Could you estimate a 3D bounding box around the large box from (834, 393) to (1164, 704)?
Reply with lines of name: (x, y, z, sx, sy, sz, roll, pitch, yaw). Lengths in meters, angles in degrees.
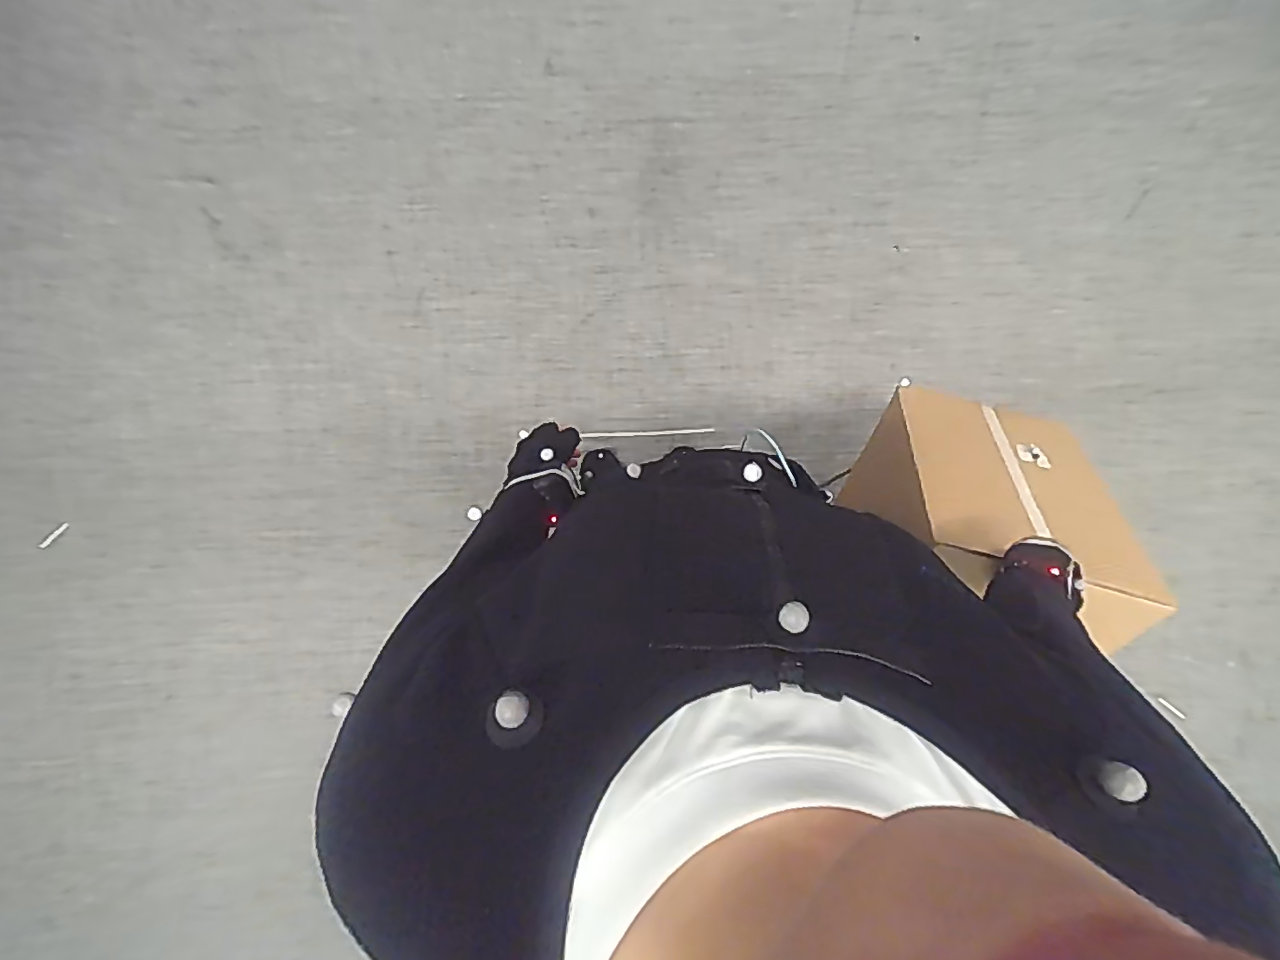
large box: (0.555, 0.108, 0.953, 0.320, 0.408, 0.320, 16, 131, 4)
